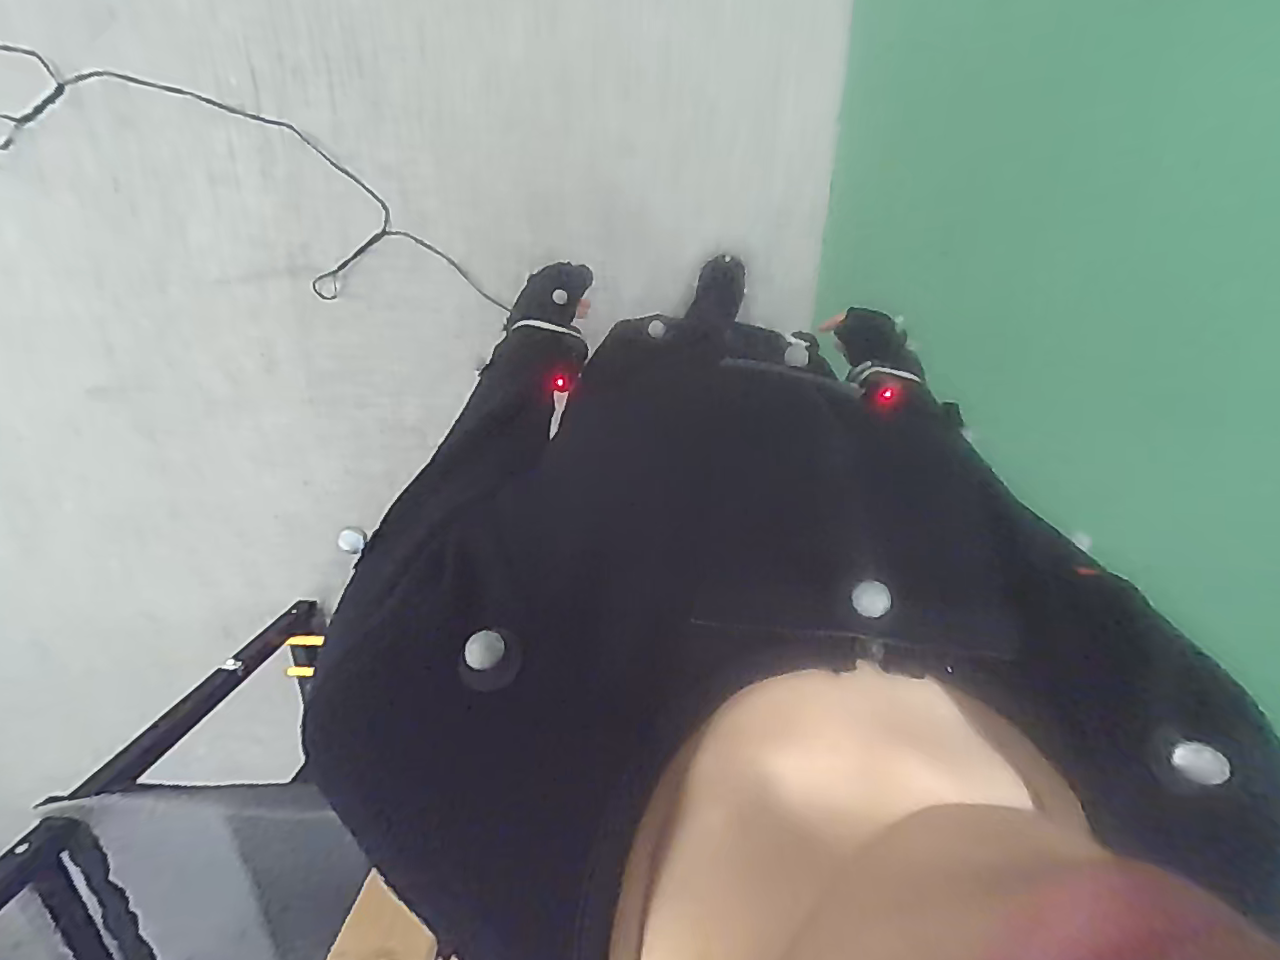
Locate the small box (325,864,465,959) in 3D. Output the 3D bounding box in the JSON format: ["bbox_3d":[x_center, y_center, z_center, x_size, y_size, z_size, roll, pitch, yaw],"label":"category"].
[{"bbox_3d":[-0.423,0.829,0.963,0.168,0.176,0.179,-1,109,2],"label":"small box"}]
